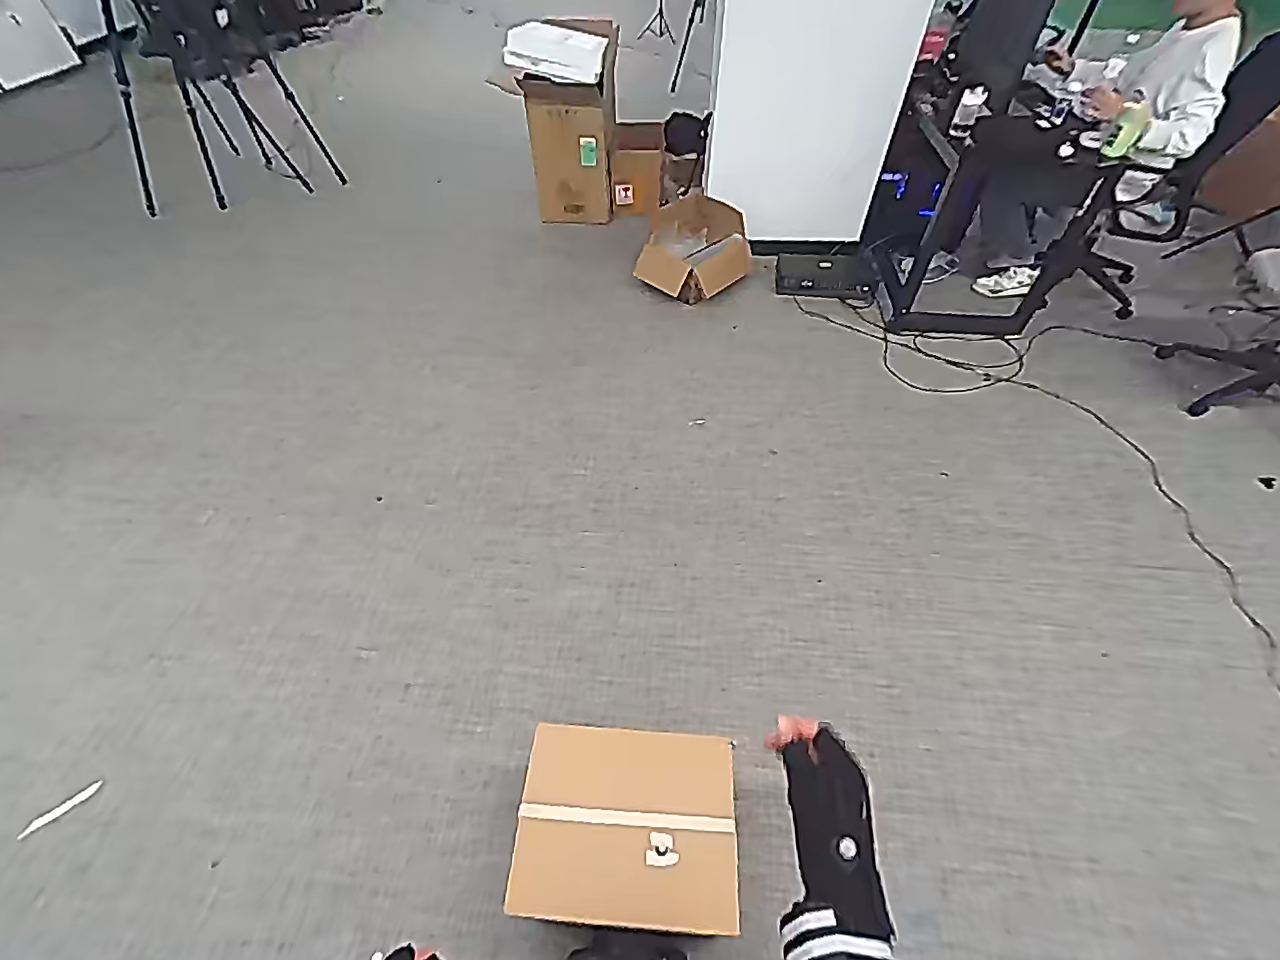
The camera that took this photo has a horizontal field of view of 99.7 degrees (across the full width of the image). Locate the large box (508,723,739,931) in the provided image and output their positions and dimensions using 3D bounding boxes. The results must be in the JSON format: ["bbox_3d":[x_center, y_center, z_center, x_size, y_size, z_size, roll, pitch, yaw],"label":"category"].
[{"bbox_3d":[-0.025,0.725,1.124,0.408,0.320,0.320,4,51,2],"label":"large box"}]
